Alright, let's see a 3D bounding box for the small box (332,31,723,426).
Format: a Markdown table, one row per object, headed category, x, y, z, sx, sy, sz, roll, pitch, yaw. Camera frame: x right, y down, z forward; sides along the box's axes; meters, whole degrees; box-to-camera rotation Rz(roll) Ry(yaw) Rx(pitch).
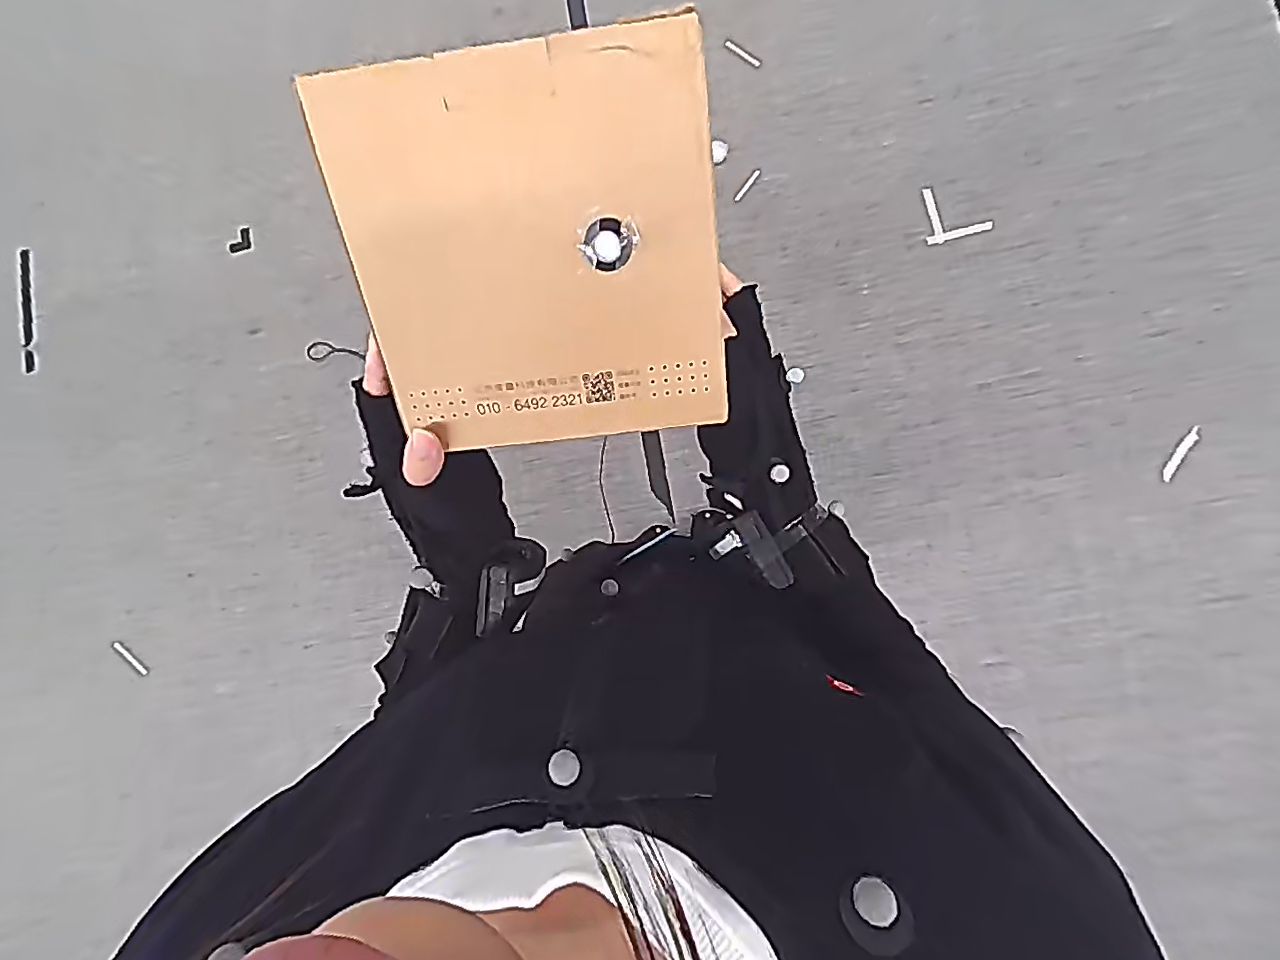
| category | x | y | z | sx | sy | sz | roll | pitch | yaw |
| --- | --- | --- | --- | --- | --- | --- | --- | --- | --- |
| small box | -0.040 | -0.136 | 0.336 | 0.168 | 0.179 | 0.176 | -5 | 115 | 6 |
